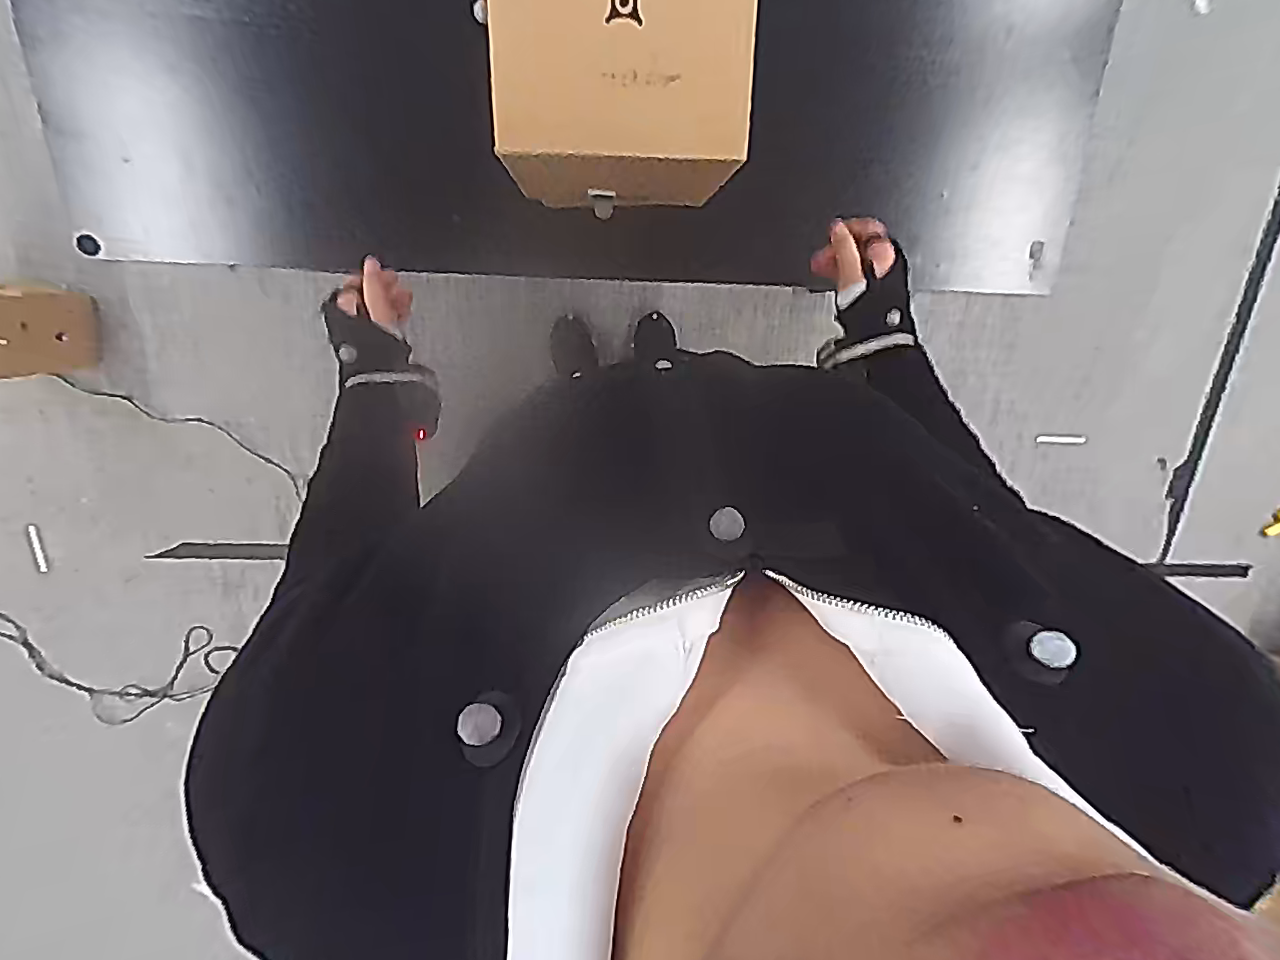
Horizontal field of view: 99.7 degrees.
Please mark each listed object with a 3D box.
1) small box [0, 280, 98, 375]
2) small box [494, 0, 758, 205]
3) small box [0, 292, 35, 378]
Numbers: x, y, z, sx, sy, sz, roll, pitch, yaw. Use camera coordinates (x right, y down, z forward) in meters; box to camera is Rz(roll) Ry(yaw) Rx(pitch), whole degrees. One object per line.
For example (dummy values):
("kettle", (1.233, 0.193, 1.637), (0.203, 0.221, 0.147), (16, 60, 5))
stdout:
("small box", (-1.383, -0.347, 1.216), (0.168, 0.176, 0.179), (9, 107, -7))
("small box", (-0.013, -0.321, 0.405), (0.168, 0.176, 0.179), (-1, 108, -3))
("small box", (-1.360, -0.292, 1.063), (0.179, 0.176, 0.168), (6, 106, -6))
